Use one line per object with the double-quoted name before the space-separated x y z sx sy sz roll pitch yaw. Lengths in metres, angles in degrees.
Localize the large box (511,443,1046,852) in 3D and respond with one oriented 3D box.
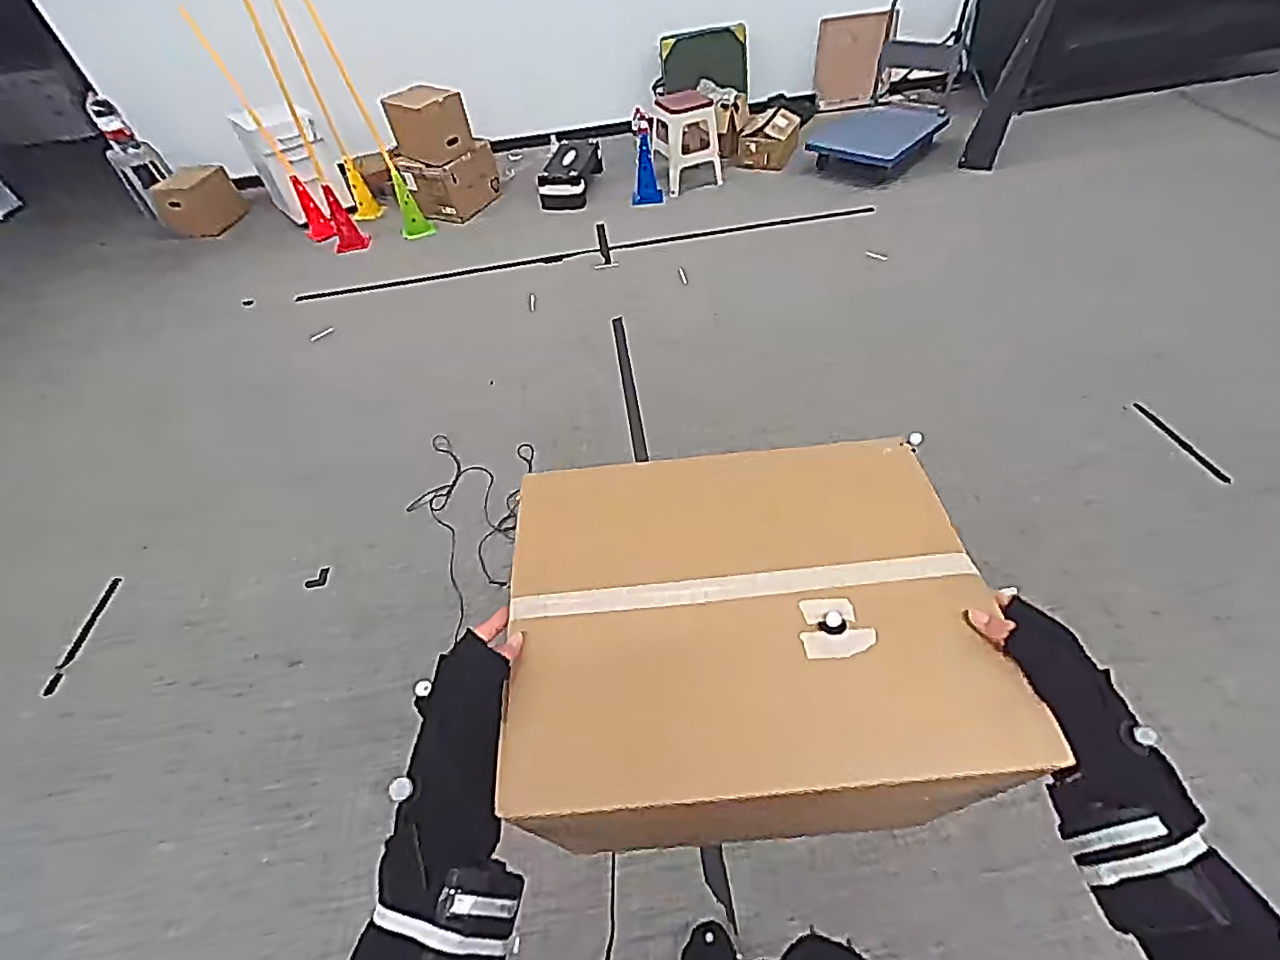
"large box" 0.098 0.192 0.600 0.408 0.320 0.320 -6 51 1
